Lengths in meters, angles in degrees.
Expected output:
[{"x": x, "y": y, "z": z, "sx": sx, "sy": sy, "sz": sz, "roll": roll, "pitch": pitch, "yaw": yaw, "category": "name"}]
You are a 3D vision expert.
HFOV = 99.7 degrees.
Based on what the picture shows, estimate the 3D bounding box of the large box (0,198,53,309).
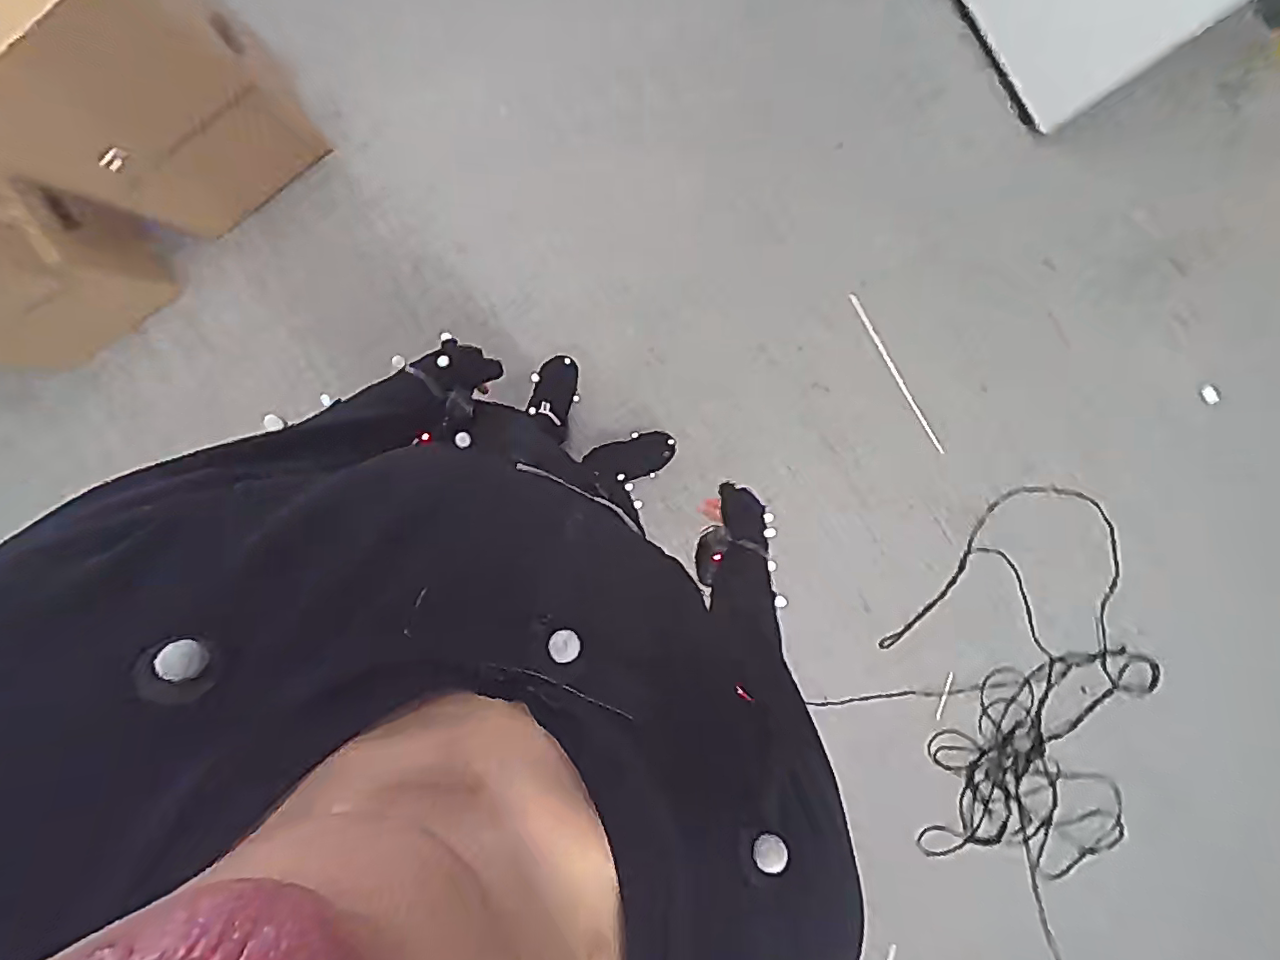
[{"x": -1.456, "y": -0.442, "z": 0.977, "sx": 0.408, "sy": 0.320, "sz": 0.320, "roll": -29, "pitch": 100, "yaw": 9, "category": "large box"}]
